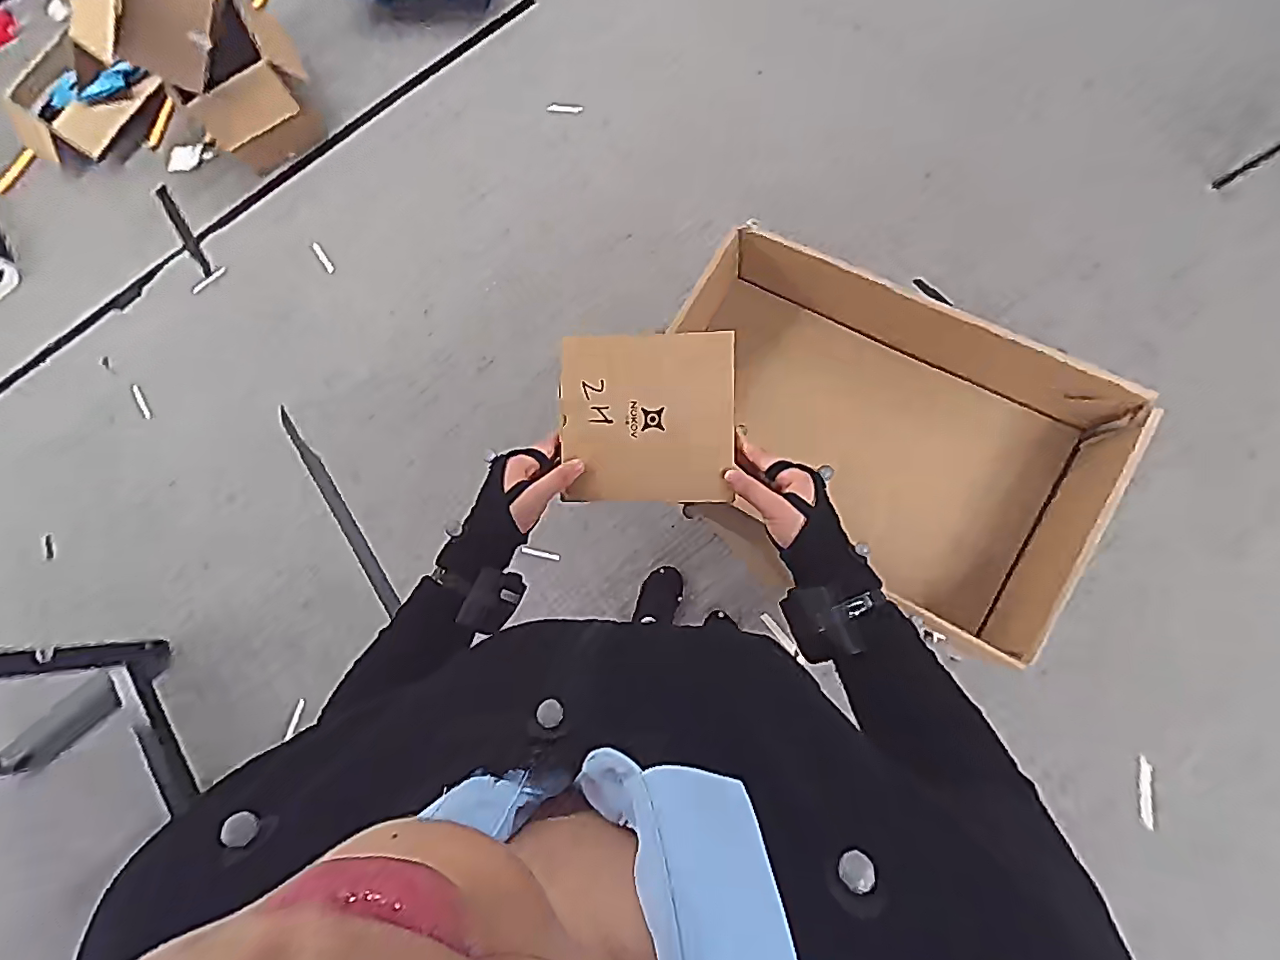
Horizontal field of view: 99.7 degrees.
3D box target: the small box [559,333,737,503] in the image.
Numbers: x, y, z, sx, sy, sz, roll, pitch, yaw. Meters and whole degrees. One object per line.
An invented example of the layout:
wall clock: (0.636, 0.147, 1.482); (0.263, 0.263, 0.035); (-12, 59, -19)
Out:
small box: (0.017, -0.061, 0.608); (0.179, 0.176, 0.168); (-1, 90, 9)
